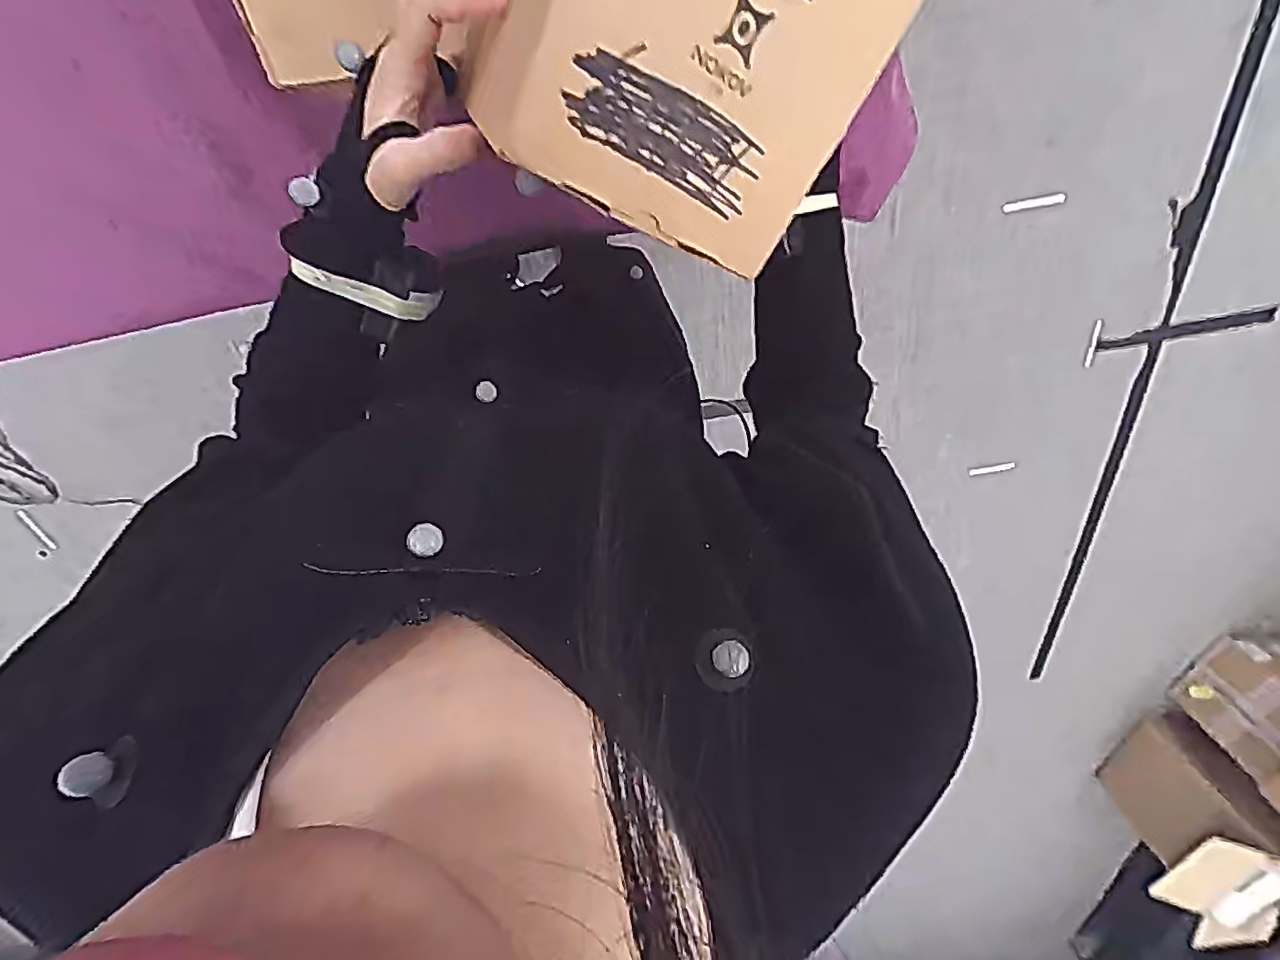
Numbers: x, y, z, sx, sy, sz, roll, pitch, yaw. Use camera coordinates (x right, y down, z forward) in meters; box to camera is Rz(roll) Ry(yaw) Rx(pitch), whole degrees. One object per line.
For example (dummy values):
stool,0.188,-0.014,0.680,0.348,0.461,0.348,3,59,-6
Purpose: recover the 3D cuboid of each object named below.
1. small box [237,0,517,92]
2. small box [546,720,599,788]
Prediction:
small box,-0.208,-0.420,0.425,0.179,0.176,0.168,-9,123,-1
small box,-0.279,1.138,2.251,0.168,0.176,0.179,-20,121,4
